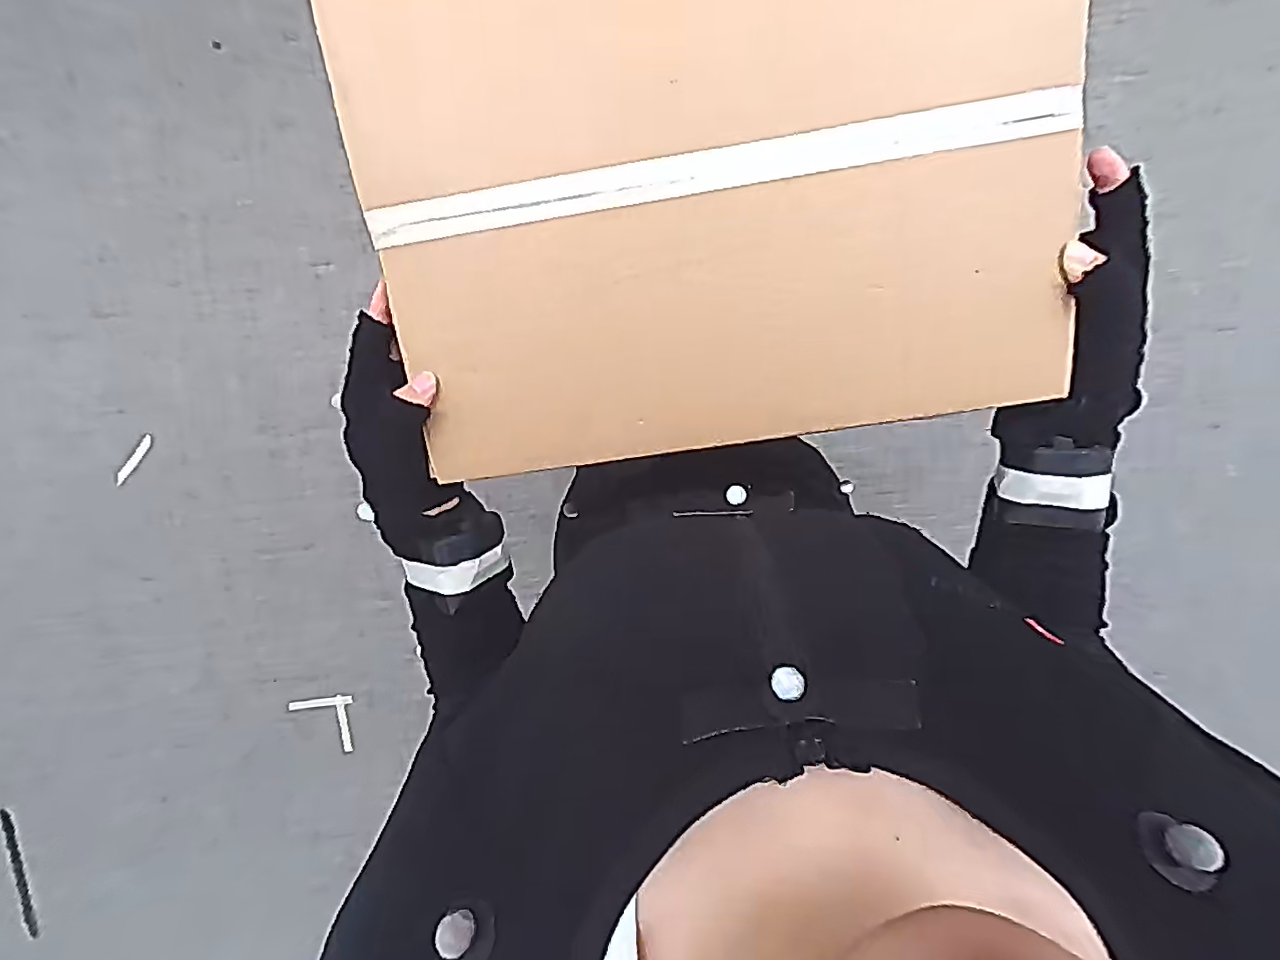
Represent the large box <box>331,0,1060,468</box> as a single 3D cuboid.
[{"bbox_3d":[0.042,-0.219,0.465,0.408,0.320,0.320,-8,105,3],"label":"large box"}]
